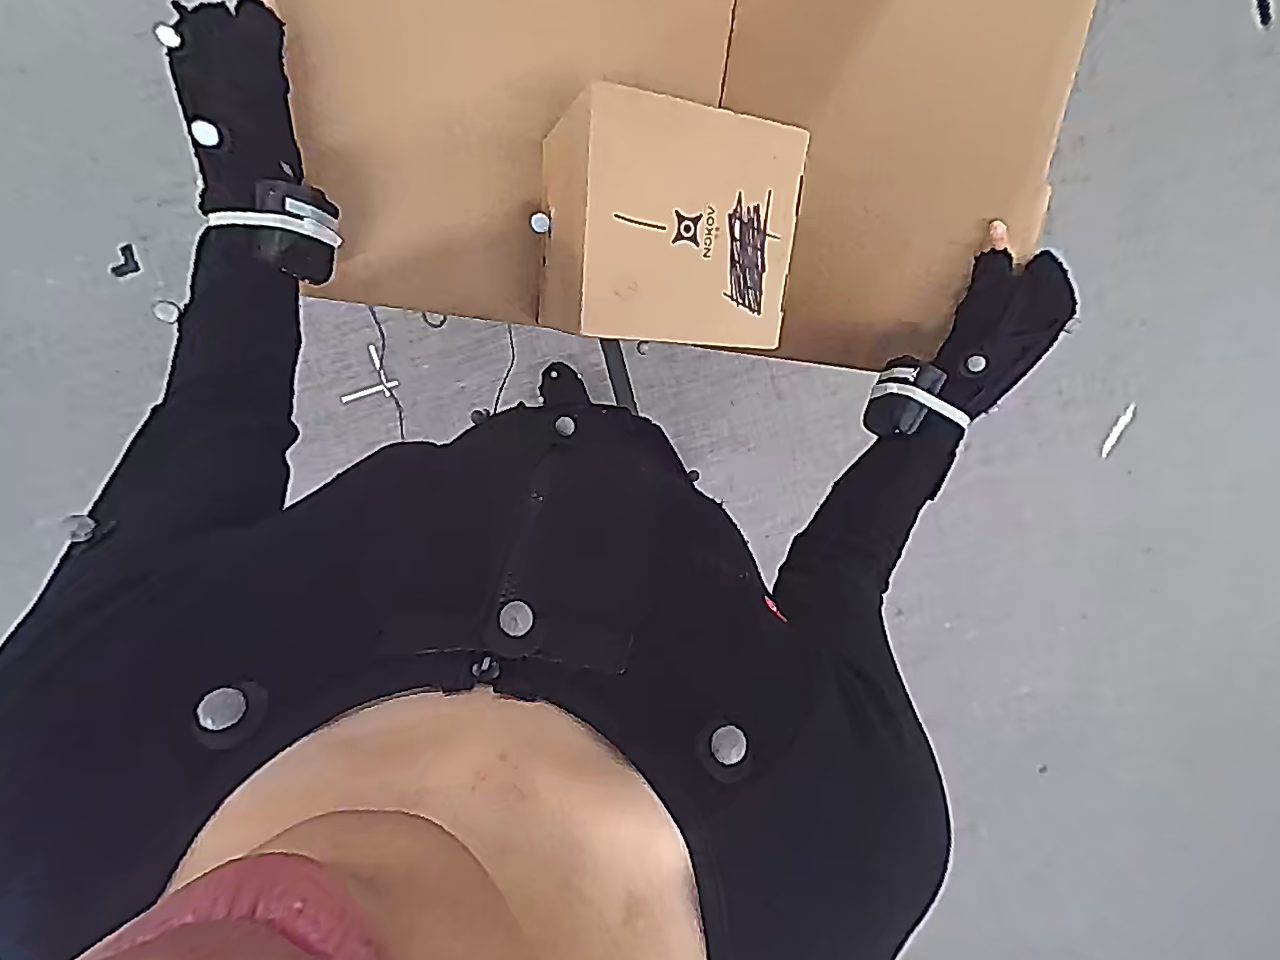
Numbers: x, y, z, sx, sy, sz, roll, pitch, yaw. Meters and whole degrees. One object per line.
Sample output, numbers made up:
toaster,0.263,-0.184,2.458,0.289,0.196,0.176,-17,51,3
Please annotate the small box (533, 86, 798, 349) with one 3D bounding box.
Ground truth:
small box,0.008,-0.212,0.482,0.179,0.176,0.168,-2,108,-20
